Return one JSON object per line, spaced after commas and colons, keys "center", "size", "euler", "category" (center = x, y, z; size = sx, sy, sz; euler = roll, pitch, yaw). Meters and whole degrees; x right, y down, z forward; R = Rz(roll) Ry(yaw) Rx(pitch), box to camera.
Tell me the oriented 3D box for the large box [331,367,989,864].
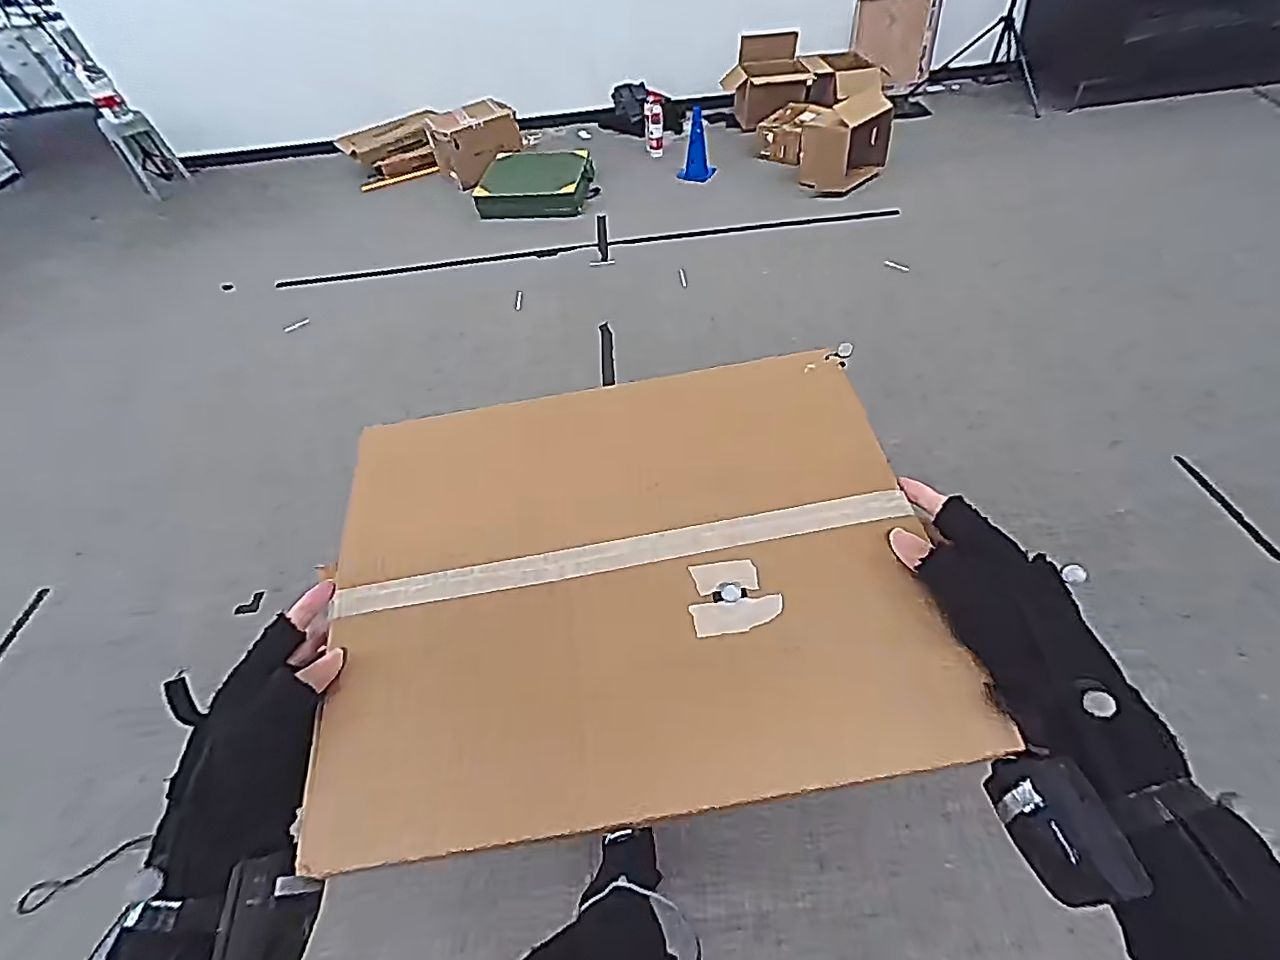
{"center": [0.002, 0.139, 0.520], "size": [0.408, 0.320, 0.320], "euler": [-10, 58, -1], "category": "large box"}
